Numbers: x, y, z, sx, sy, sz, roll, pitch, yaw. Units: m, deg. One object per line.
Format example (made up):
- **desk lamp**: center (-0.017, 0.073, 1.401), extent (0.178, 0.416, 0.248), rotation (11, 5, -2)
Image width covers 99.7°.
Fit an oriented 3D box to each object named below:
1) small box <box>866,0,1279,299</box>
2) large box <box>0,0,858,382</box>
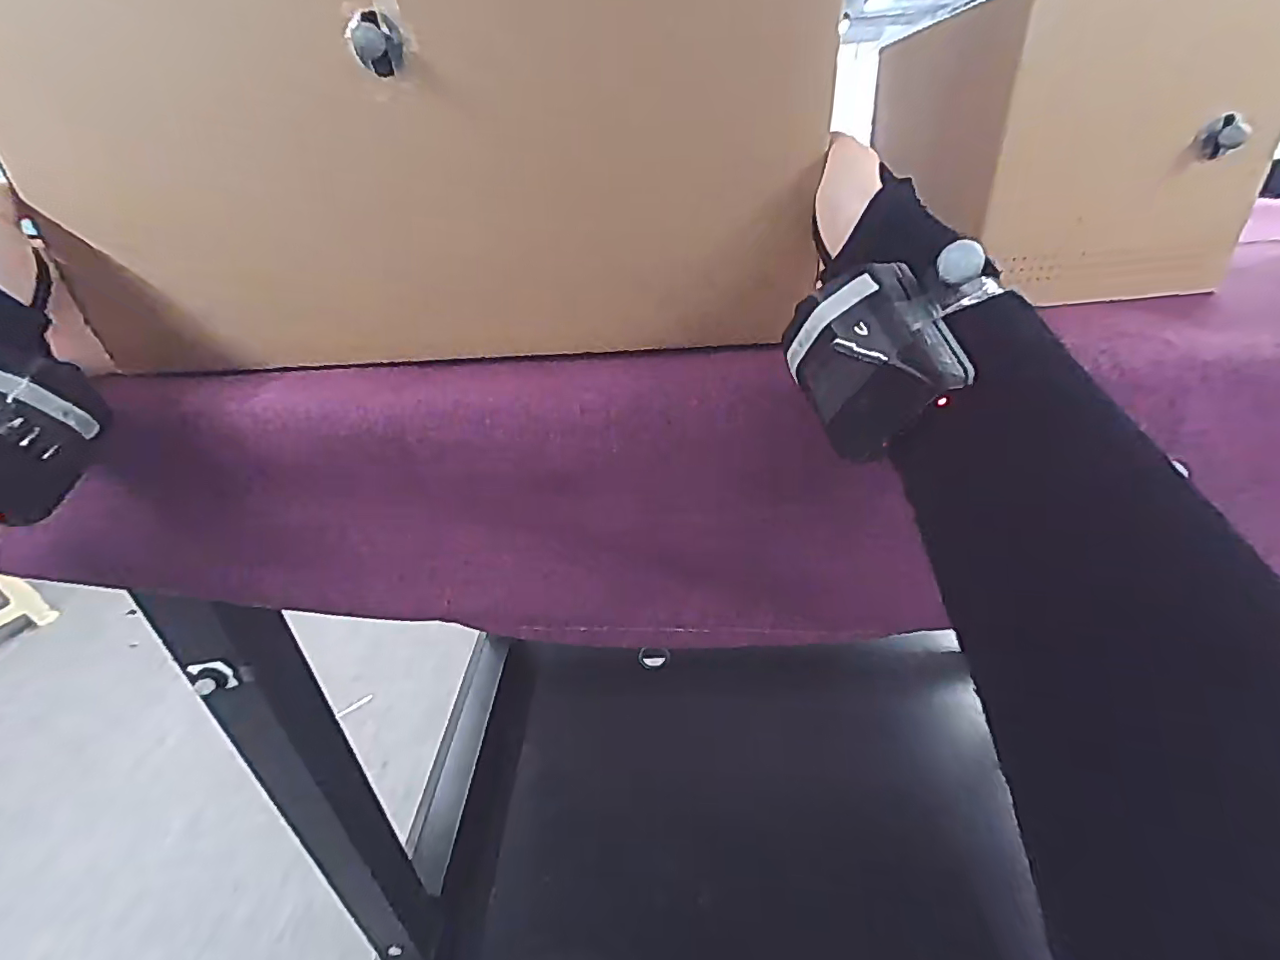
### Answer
- **small box**: center (0.283, -0.232, 0.377), extent (0.179, 0.176, 0.168), rotation (-6, 28, -2)
- **large box**: center (-0.106, -0.272, 0.362), extent (0.408, 0.320, 0.320), rotation (-3, 29, 3)
